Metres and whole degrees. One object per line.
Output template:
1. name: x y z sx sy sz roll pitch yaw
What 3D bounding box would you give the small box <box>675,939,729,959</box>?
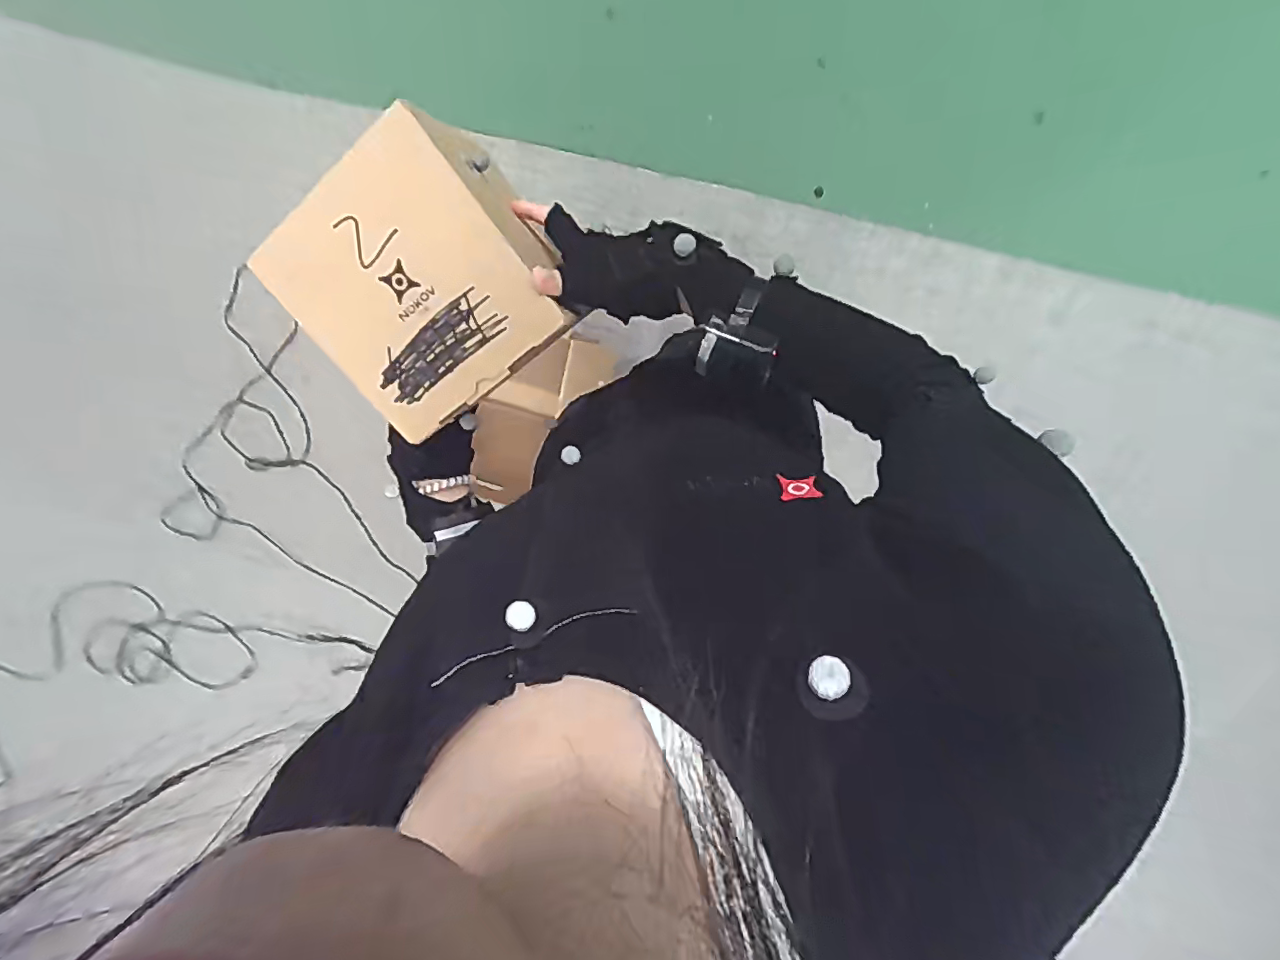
1. small box: 0.204 1.727 1.851 0.179 0.176 0.168 12 105 2
